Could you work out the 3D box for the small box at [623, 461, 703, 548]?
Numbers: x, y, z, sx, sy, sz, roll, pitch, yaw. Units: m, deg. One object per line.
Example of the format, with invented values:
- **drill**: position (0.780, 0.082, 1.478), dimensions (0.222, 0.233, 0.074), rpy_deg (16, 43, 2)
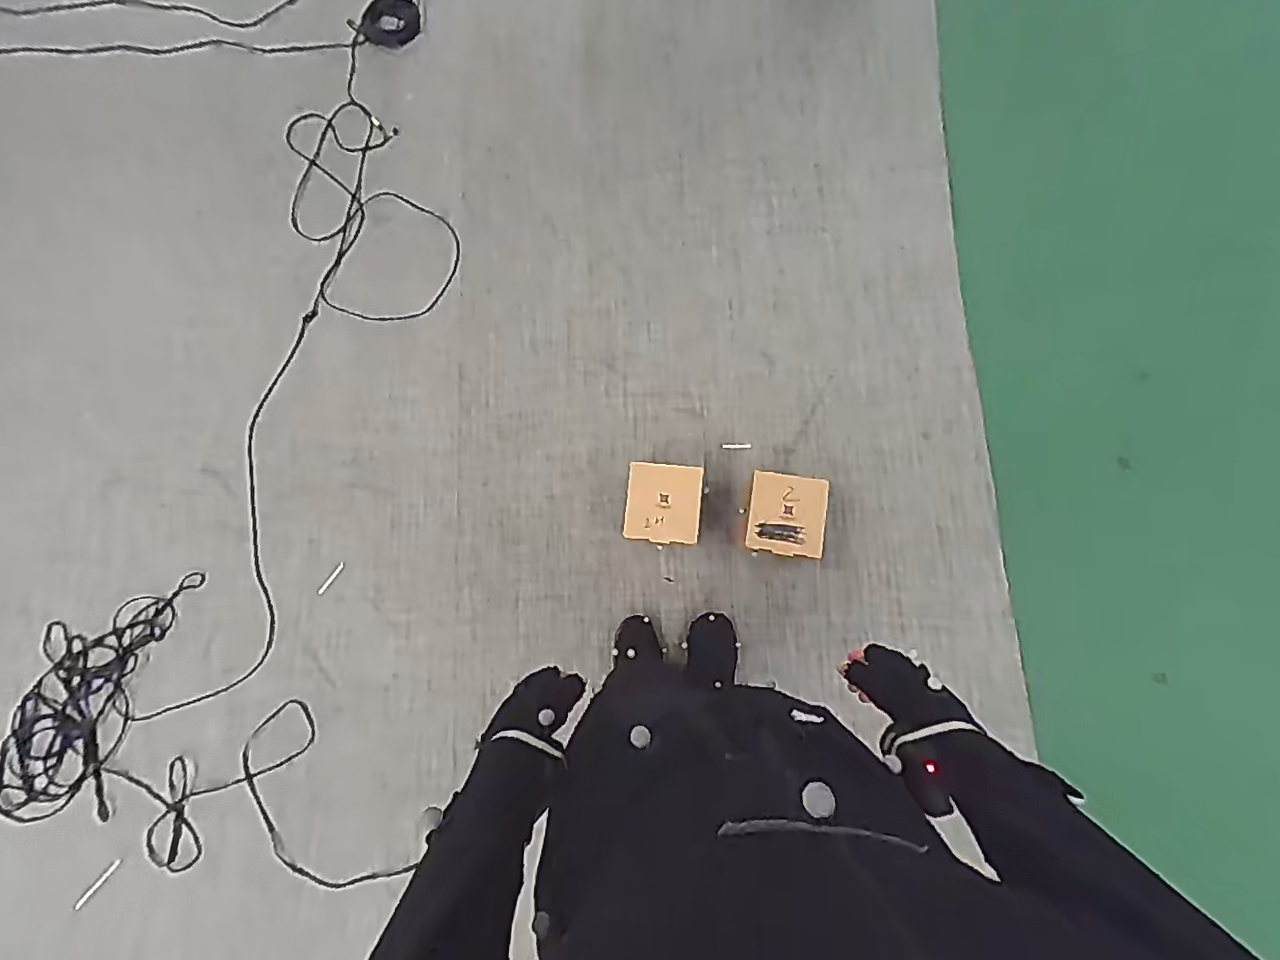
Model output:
- **small box**: position (0.057, 0.062, 1.281), dimensions (0.168, 0.176, 0.179), rpy_deg (6, 81, 6)
